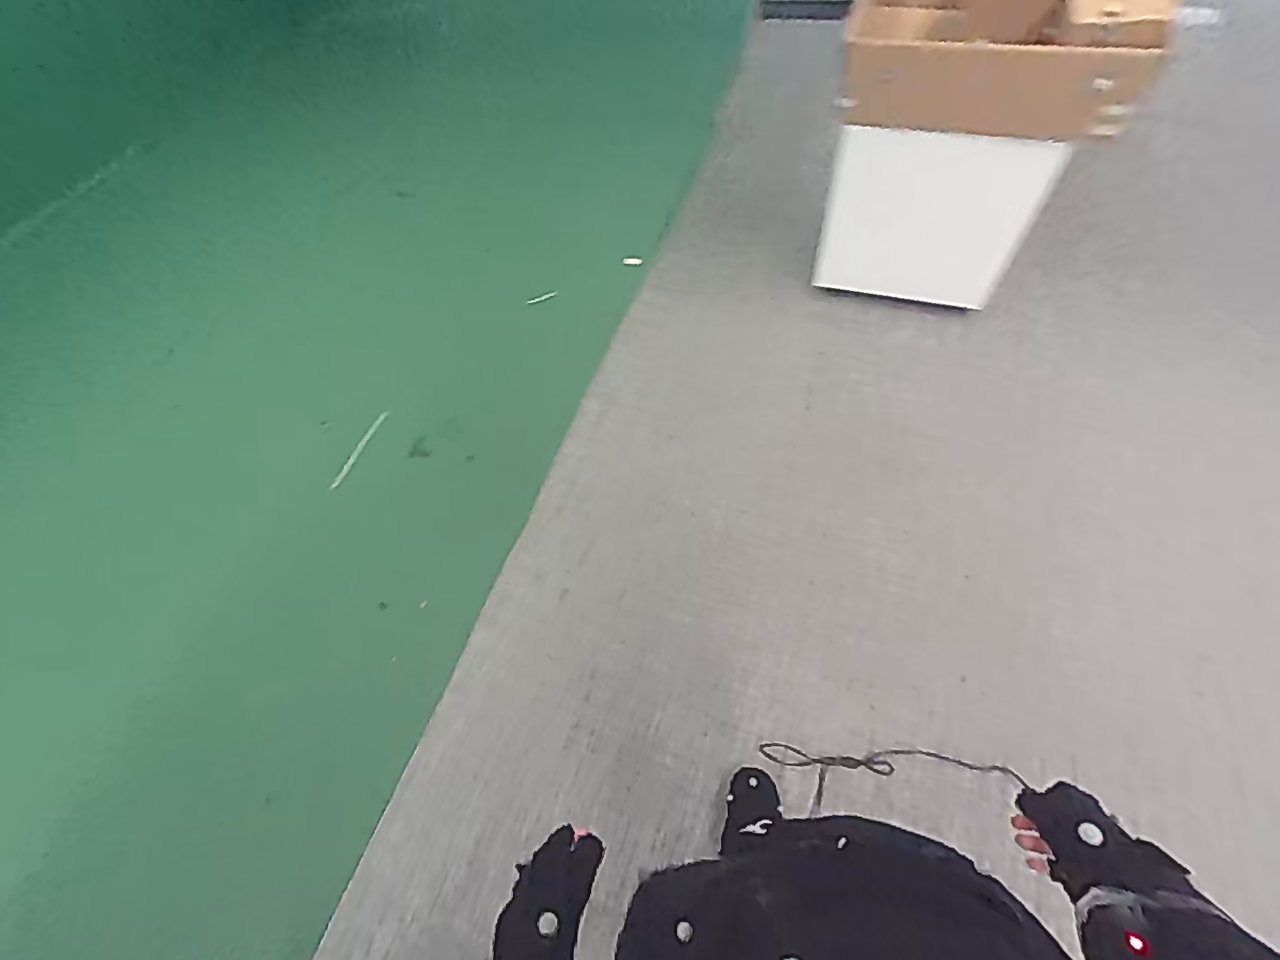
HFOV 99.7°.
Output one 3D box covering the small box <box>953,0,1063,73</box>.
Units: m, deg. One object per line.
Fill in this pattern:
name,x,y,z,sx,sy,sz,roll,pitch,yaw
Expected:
small box,0.857,-1.089,1.240,0.168,0.176,0.179,35,79,22
